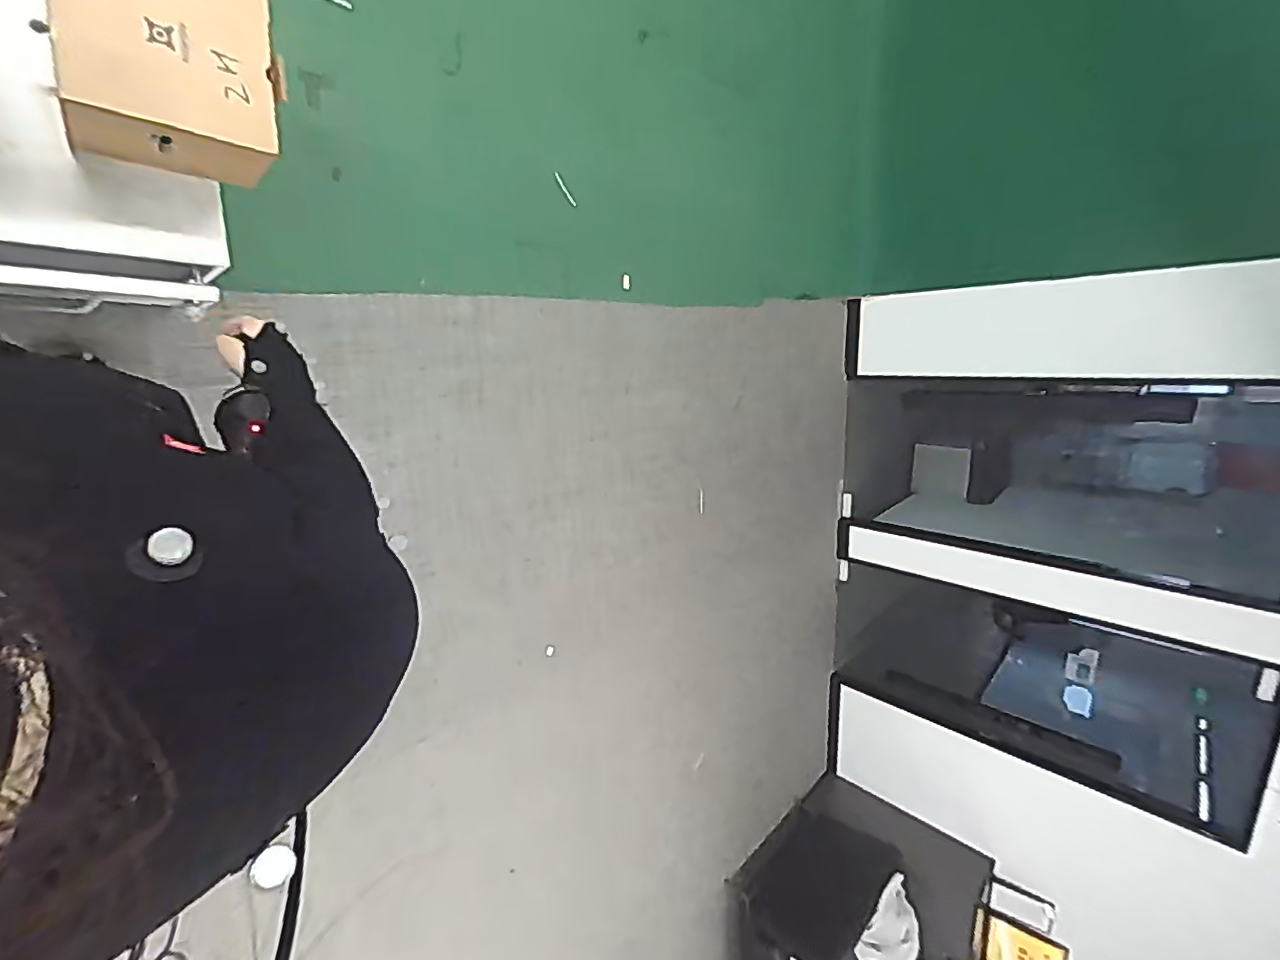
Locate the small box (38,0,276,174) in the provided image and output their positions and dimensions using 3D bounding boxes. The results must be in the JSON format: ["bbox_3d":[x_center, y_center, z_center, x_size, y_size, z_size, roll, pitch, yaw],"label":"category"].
[{"bbox_3d":[-0.519,-0.456,0.586,0.179,0.176,0.168,-8,105,-44],"label":"small box"}]
